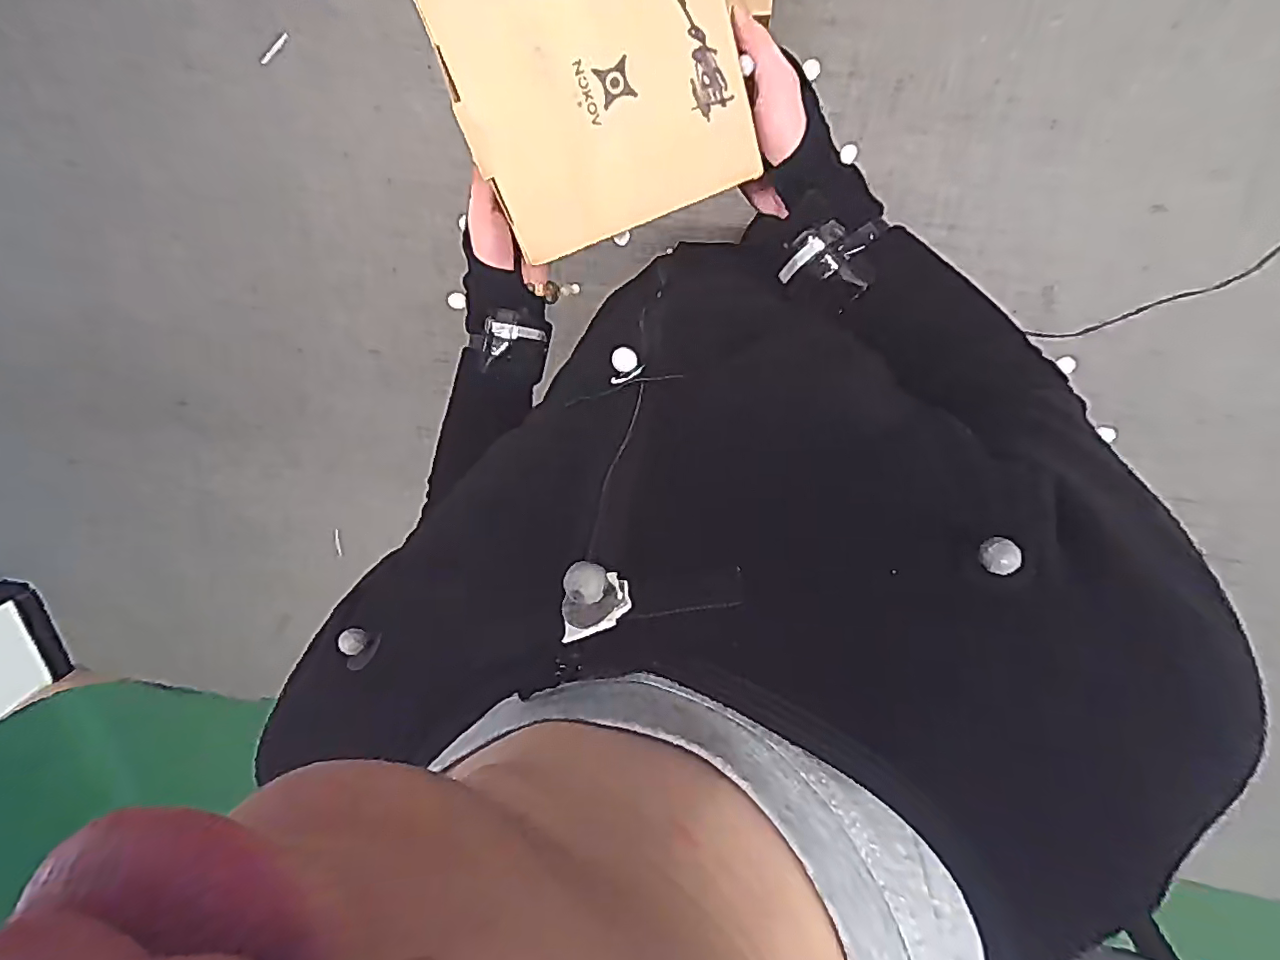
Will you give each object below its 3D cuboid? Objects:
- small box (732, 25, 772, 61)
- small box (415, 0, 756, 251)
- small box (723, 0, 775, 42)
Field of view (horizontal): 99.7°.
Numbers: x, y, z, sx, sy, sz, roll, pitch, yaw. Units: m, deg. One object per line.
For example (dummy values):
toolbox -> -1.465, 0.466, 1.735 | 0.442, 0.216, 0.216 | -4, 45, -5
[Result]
small box -> 0.188, -0.974, 1.087 | 0.168, 0.176, 0.179 | 6, 117, 8
small box -> -0.033, -0.290, 0.410 | 0.179, 0.176, 0.168 | -20, 117, 5
small box -> 0.158, -0.899, 0.943 | 0.168, 0.176, 0.179 | 6, 116, 8
